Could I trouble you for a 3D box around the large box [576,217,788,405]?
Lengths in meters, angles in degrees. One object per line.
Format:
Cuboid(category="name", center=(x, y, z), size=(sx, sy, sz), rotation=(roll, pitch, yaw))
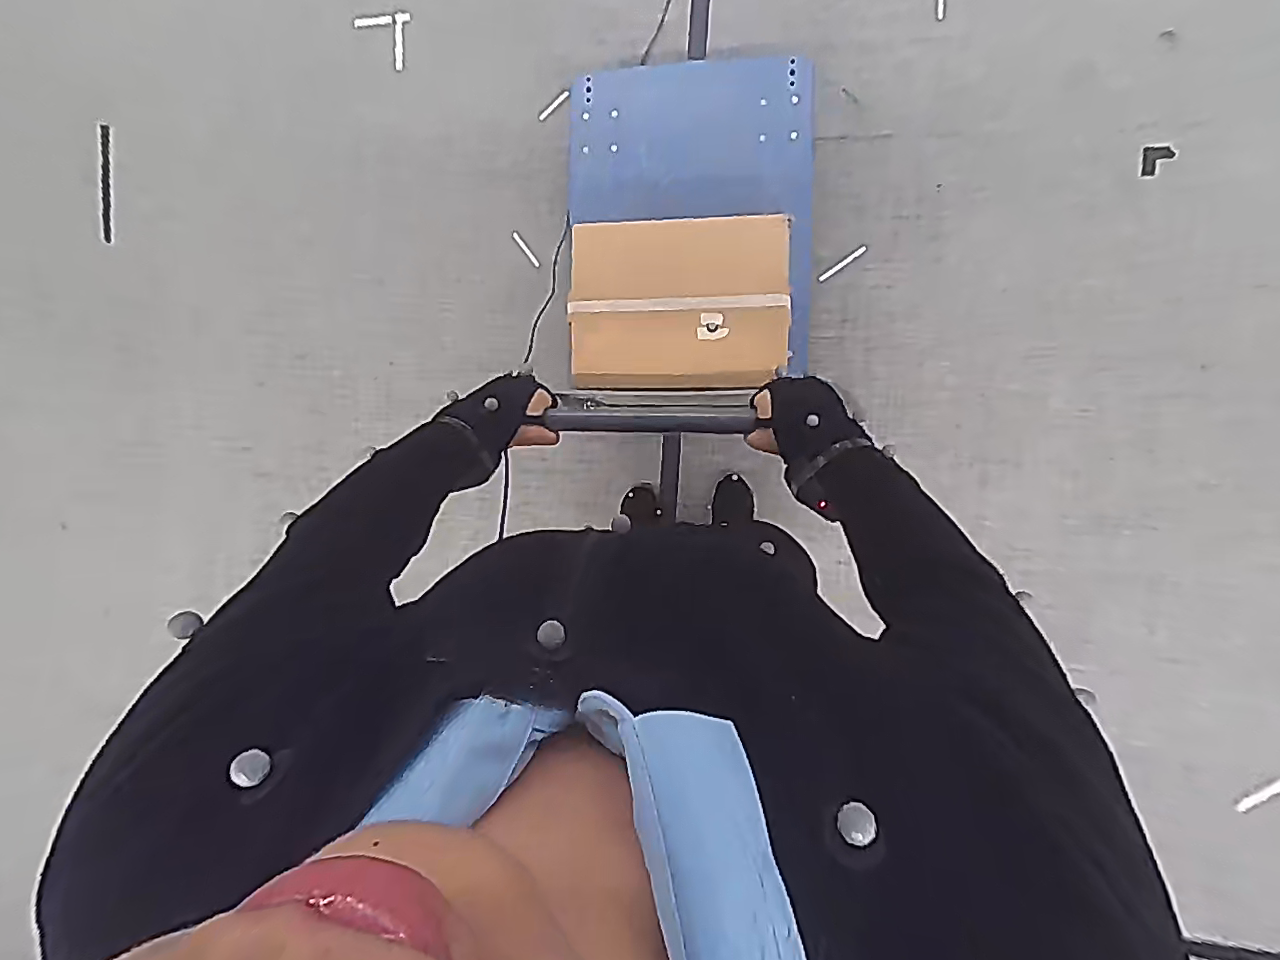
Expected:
Cuboid(category="large box", center=(0.090, -0.336, 1.169), size=(0.408, 0.320, 0.320), rotation=(1, 92, 7))
